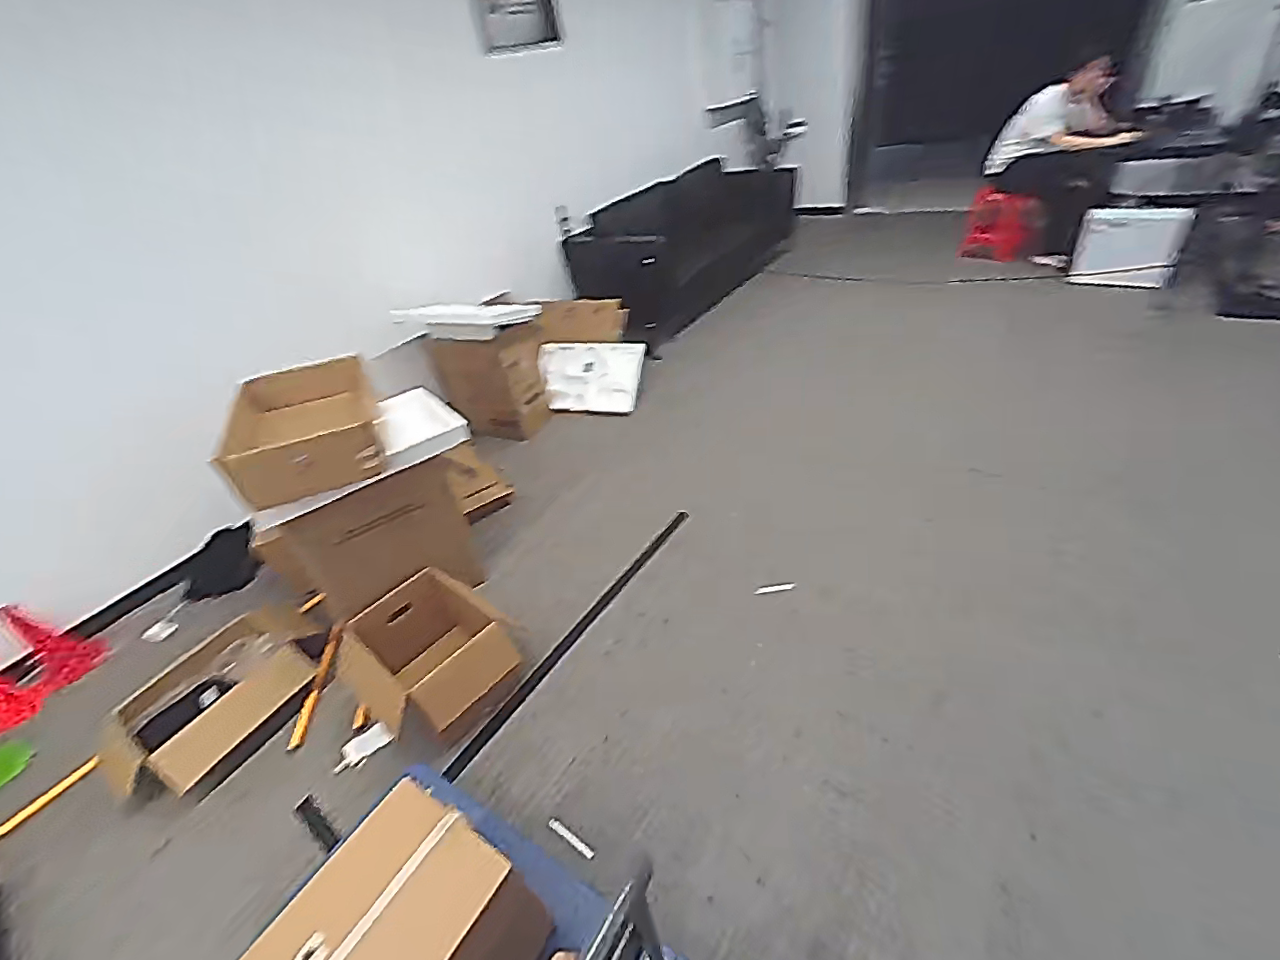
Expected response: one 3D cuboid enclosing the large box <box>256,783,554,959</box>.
[{"bbox_3d":[-0.423,0.875,0.986,0.320,0.320,0.408,13,43,32],"label":"large box"}]
